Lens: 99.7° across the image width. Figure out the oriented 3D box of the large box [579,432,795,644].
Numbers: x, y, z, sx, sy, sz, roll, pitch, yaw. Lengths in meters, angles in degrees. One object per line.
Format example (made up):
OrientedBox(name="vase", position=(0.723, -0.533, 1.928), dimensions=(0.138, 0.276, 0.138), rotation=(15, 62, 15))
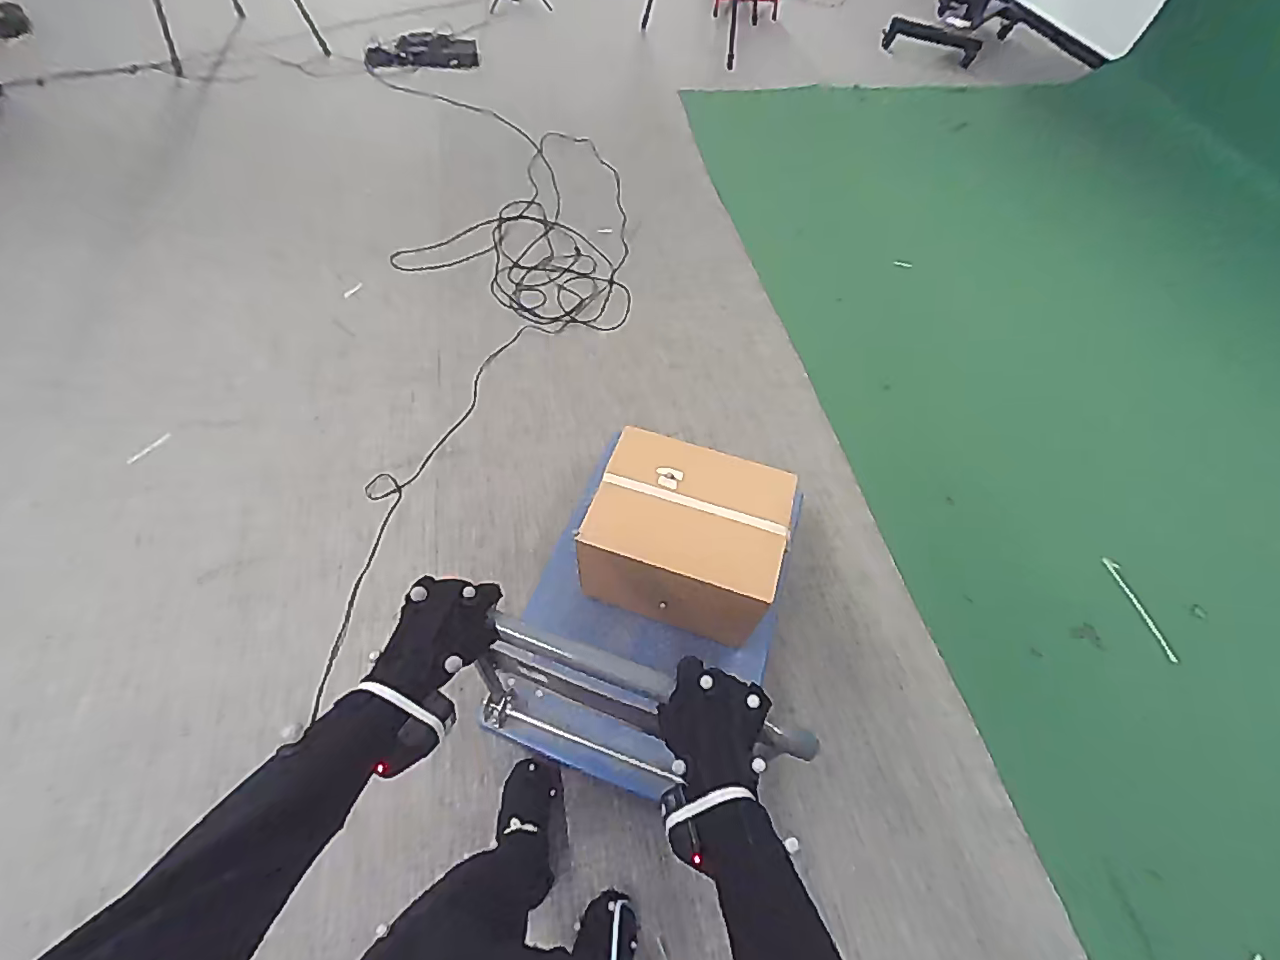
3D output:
OrientedBox(name="large box", position=(0.107, 0.143, 1.265), dimensions=(0.408, 0.320, 0.320), rotation=(17, 57, 8))
